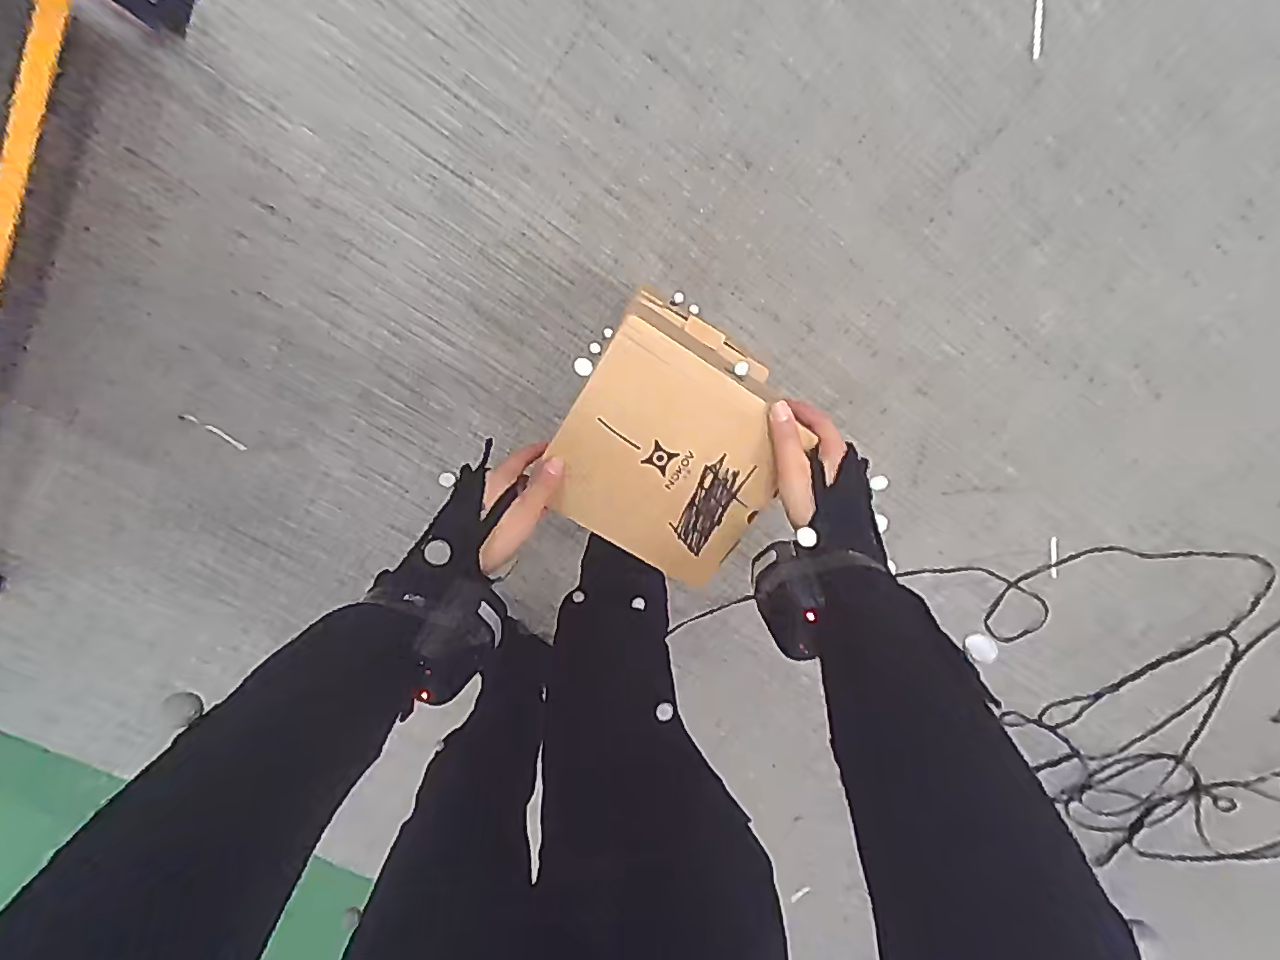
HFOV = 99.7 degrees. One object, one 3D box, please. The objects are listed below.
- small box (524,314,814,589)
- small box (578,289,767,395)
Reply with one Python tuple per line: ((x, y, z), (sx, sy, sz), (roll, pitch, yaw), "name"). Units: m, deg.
((0.024, -0.040, 0.502), (0.179, 0.176, 0.168), (32, 108, -9), "small box")
((0.026, -0.118, 0.668), (0.168, 0.176, 0.179), (29, 111, -10), "small box")
